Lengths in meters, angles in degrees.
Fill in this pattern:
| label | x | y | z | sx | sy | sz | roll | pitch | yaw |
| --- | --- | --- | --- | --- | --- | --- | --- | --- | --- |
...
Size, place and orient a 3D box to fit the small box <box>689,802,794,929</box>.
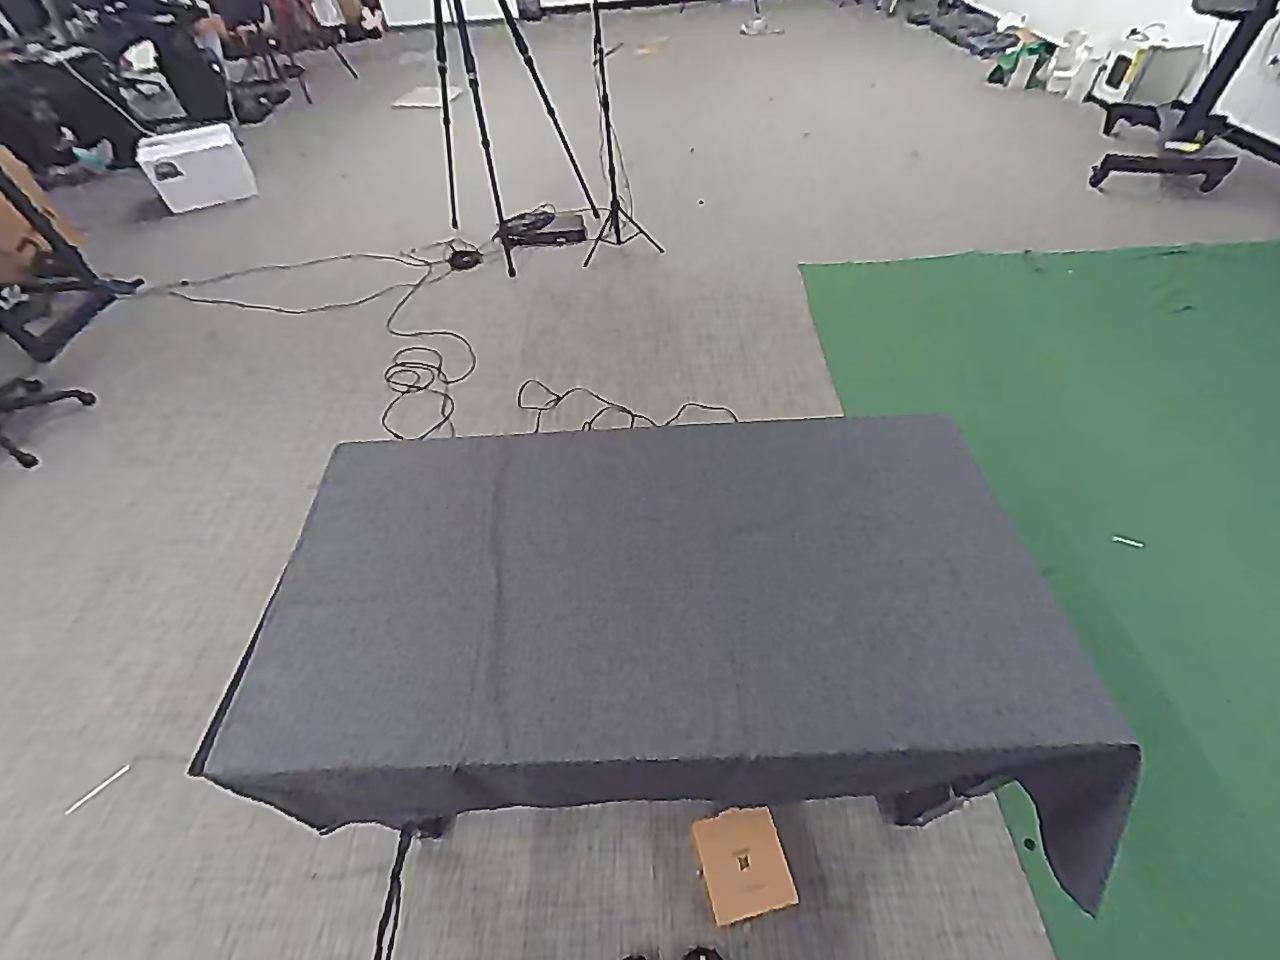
| label | x | y | z | sx | sy | sz | roll | pitch | yaw |
| --- | --- | --- | --- | --- | --- | --- | --- | --- | --- |
| small box | 0.201 | 0.808 | 1.131 | 0.168 | 0.176 | 0.179 | -12 | 49 | -6 |
